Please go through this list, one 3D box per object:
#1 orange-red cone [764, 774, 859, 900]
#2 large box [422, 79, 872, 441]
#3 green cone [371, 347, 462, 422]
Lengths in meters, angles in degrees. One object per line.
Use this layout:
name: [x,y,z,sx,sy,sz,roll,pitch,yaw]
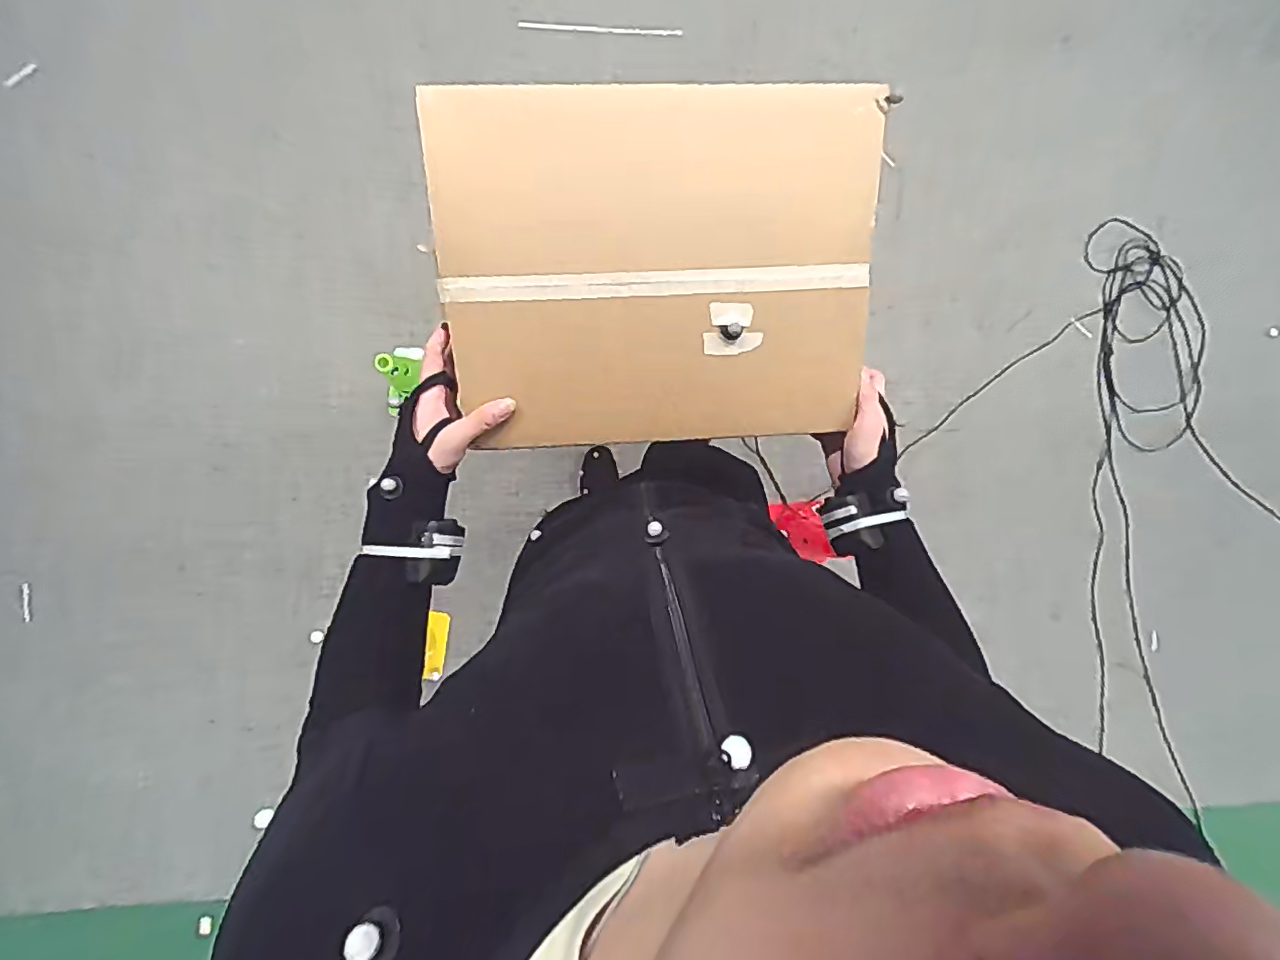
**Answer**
orange-red cone: [0.517,1.035,1.539,0.199,0.360,0.198,7,92,-8]
large box: [0.003,-0.246,0.657,0.408,0.320,0.320,-4,110,-5]
green cone: [-0.603,-0.265,1.383,0.200,0.368,0.202,5,92,-6]
